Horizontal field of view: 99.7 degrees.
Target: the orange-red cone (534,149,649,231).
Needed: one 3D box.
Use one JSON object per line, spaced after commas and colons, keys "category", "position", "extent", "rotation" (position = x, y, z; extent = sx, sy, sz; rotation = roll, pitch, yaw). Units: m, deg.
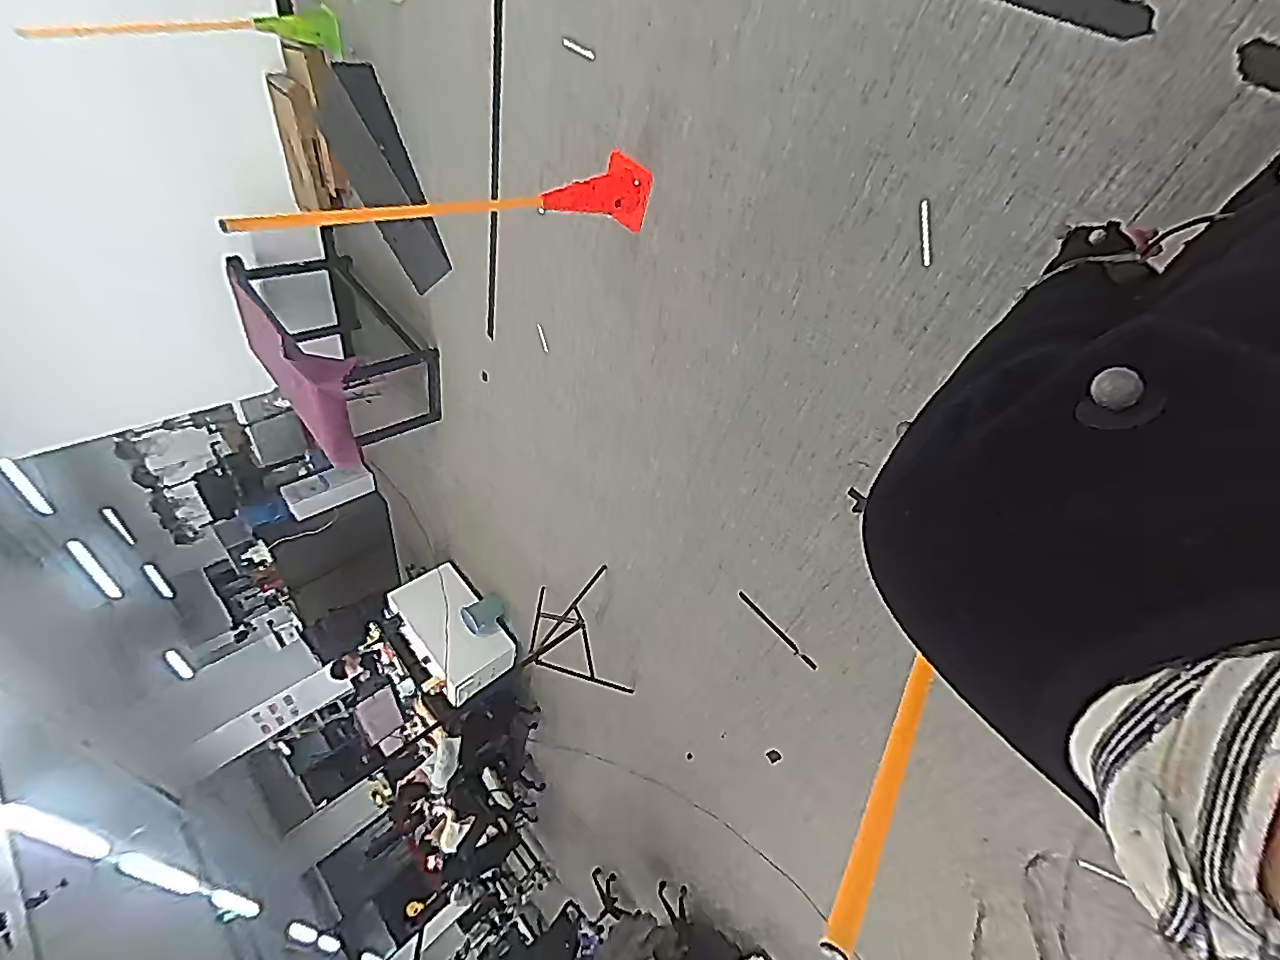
{"category": "orange-red cone", "position": [-0.178, -0.895, 1.694], "extent": [0.199, 0.360, 0.198], "rotation": [46, 141, 20]}
